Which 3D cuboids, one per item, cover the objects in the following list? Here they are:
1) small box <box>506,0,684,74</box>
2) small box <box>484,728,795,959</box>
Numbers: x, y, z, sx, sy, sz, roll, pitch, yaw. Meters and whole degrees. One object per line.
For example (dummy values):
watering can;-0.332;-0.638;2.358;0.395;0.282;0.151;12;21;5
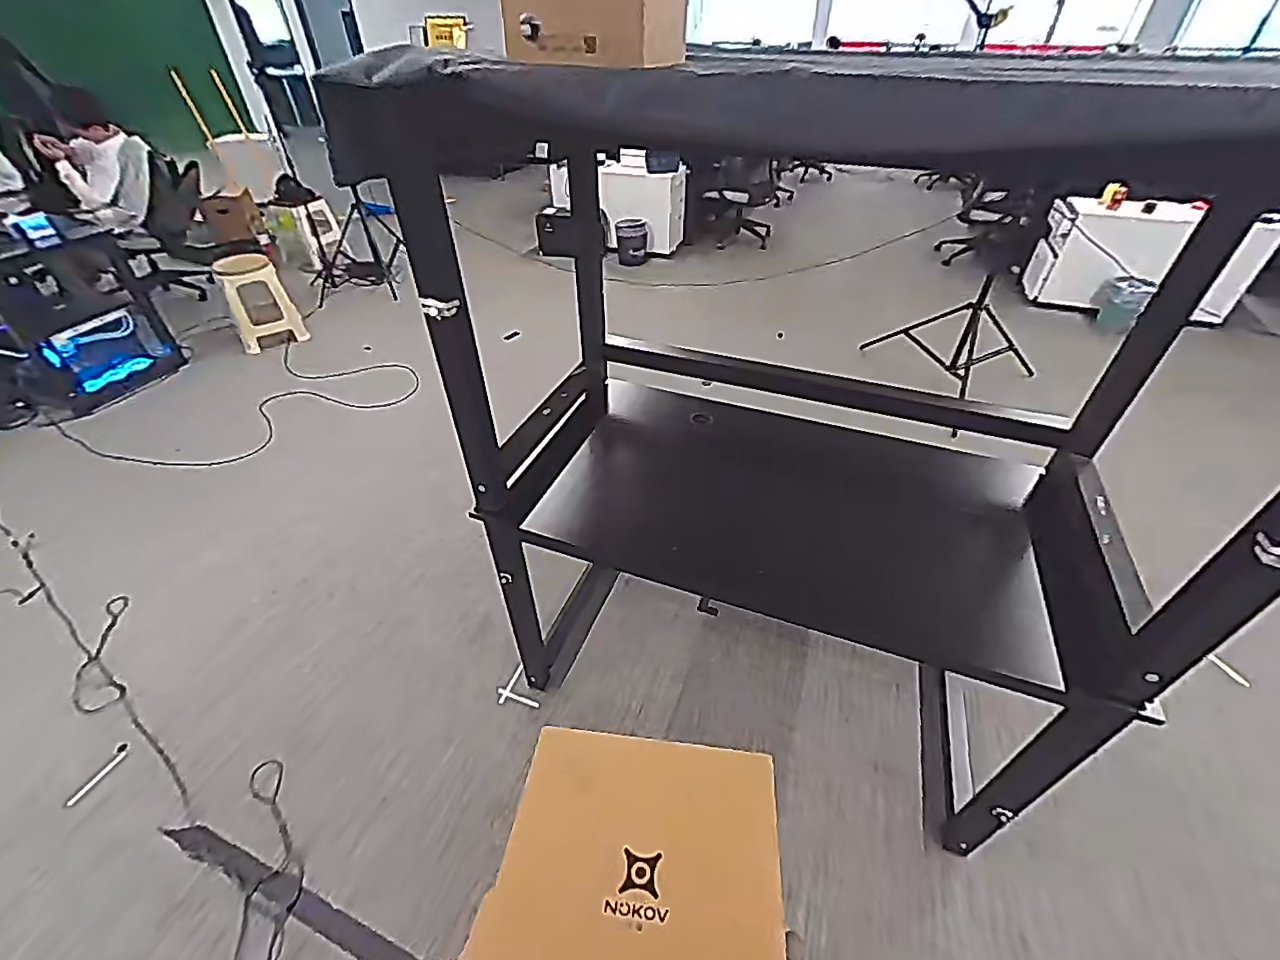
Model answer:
small box;-0.045;-0.566;0.610;0.168;0.176;0.179;13;40;13
small box;0.003;0.300;0.357;0.168;0.176;0.179;4;35;6
